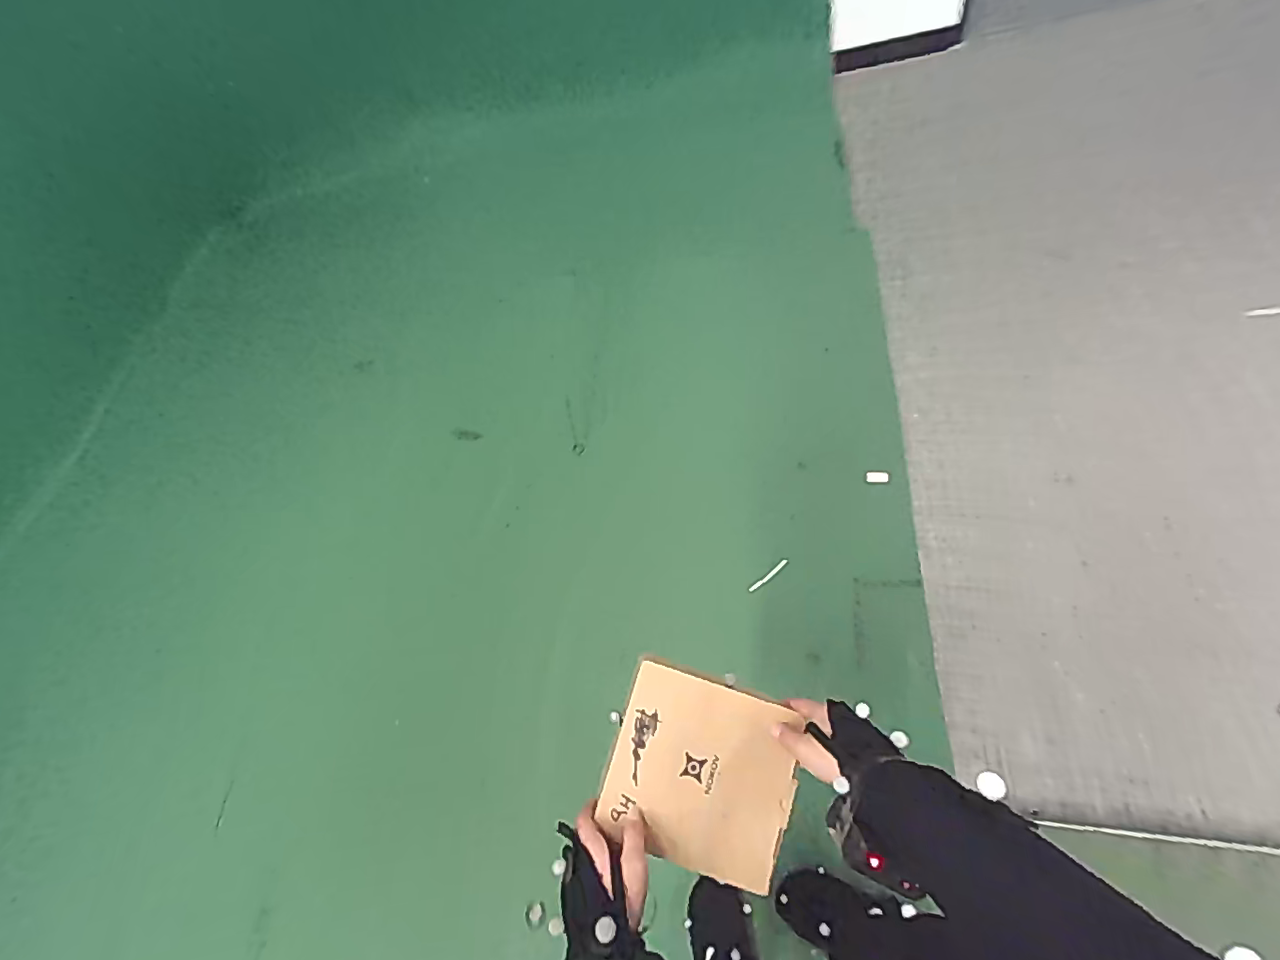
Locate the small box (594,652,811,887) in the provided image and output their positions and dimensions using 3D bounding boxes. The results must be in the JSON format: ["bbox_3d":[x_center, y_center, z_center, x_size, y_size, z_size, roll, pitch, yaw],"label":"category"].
[{"bbox_3d":[0.063,0.299,0.604,0.179,0.176,0.168,19,75,5],"label":"small box"}]
